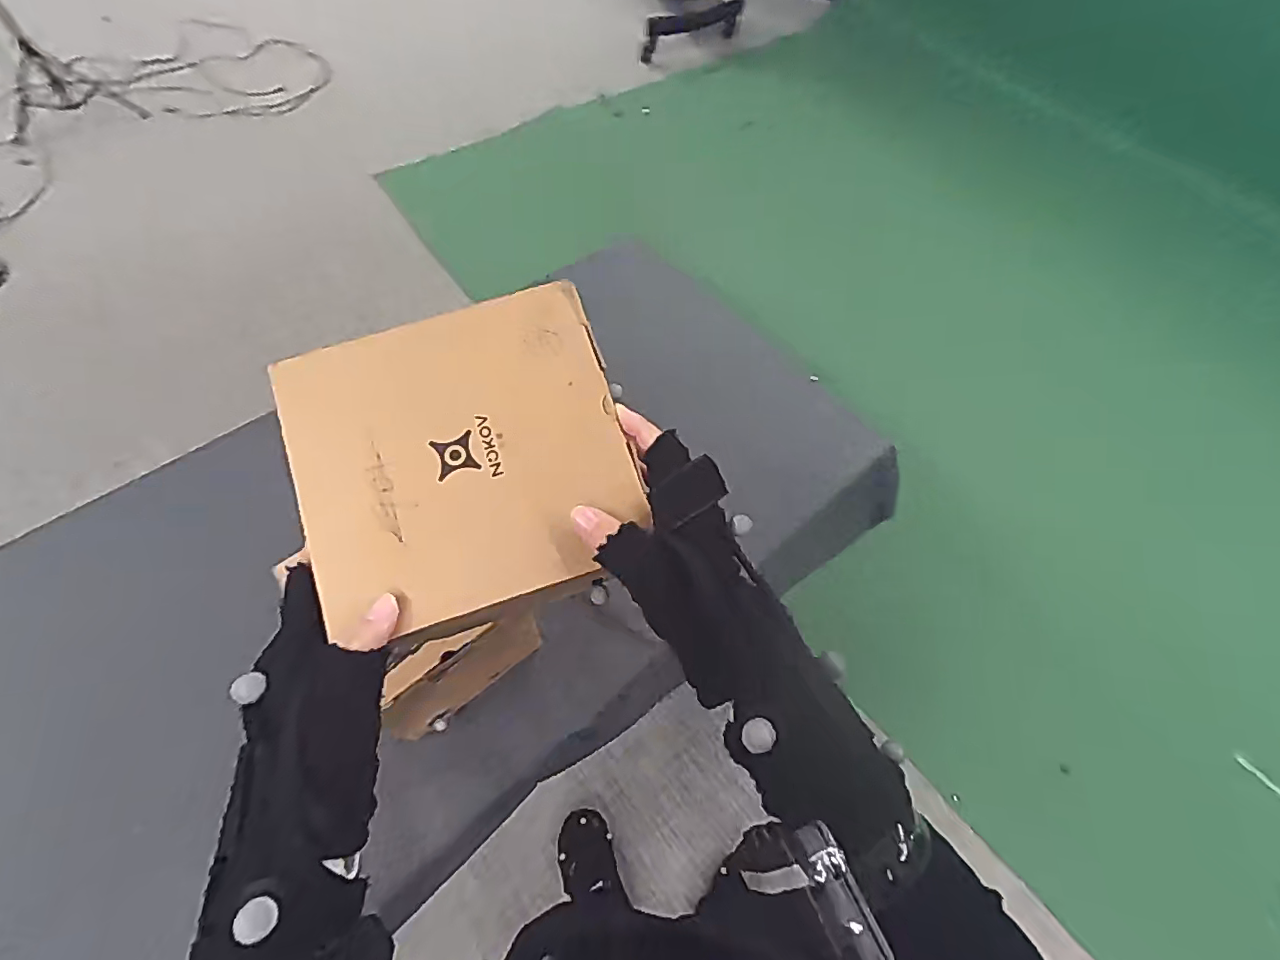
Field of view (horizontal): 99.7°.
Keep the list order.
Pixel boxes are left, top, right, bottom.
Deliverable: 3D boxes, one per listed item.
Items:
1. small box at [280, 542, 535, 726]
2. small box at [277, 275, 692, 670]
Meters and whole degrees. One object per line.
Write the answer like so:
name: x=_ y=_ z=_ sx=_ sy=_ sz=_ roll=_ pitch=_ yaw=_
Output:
small box: x=-0.229 y=0.139 z=0.577 sx=0.168 sy=0.176 sz=0.179 roll=-35 pitch=68 yaw=-22
small box: x=-0.086 y=0.004 z=0.358 sx=0.179 sy=0.176 sz=0.168 roll=-21 pitch=79 yaw=-7
